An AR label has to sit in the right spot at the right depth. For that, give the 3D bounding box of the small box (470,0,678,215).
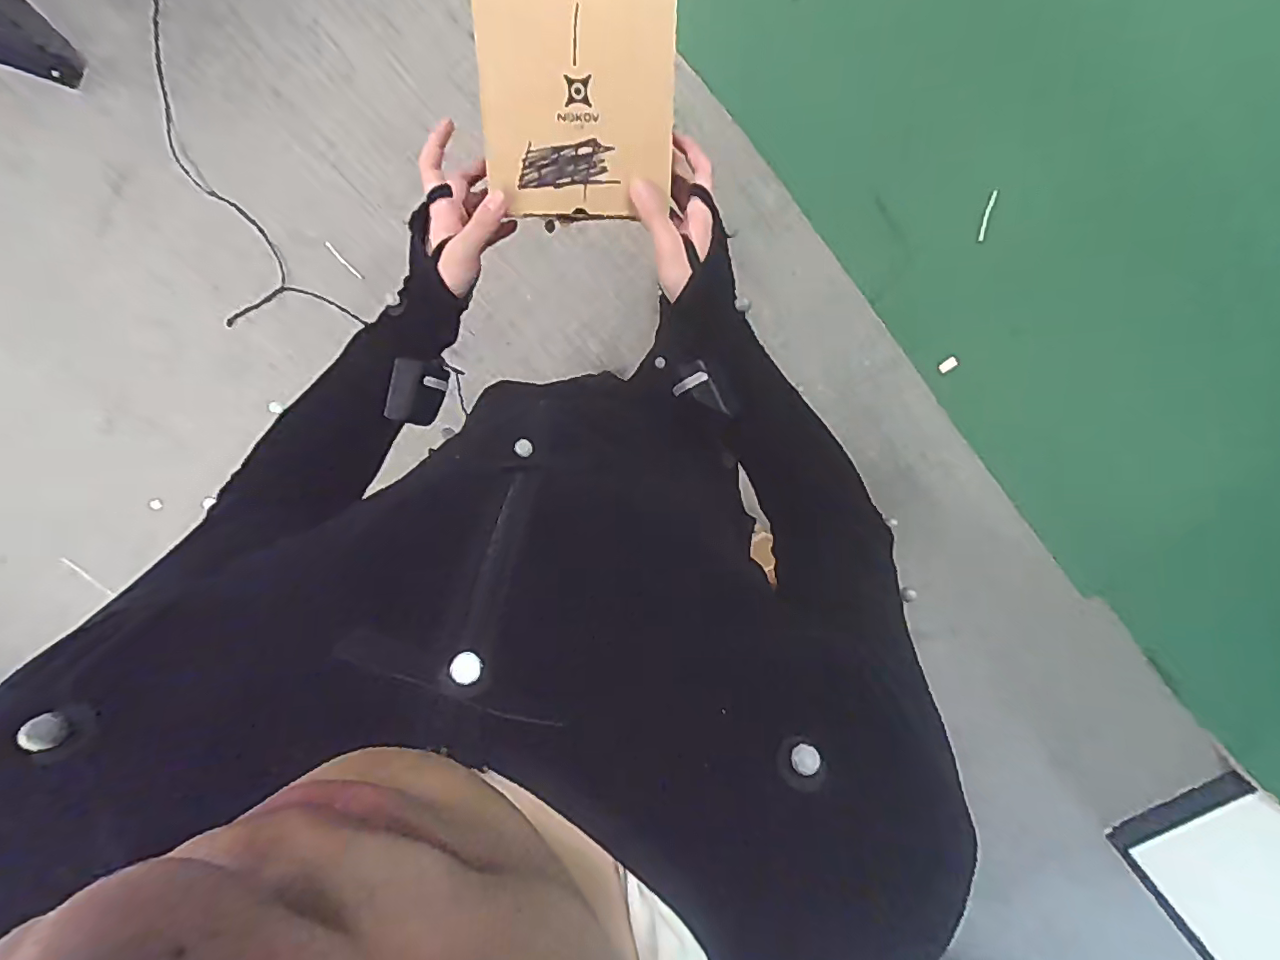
[{"bbox_3d":[-0.053,-0.354,0.519,0.168,0.176,0.179,1,114,0],"label":"small box"}]
